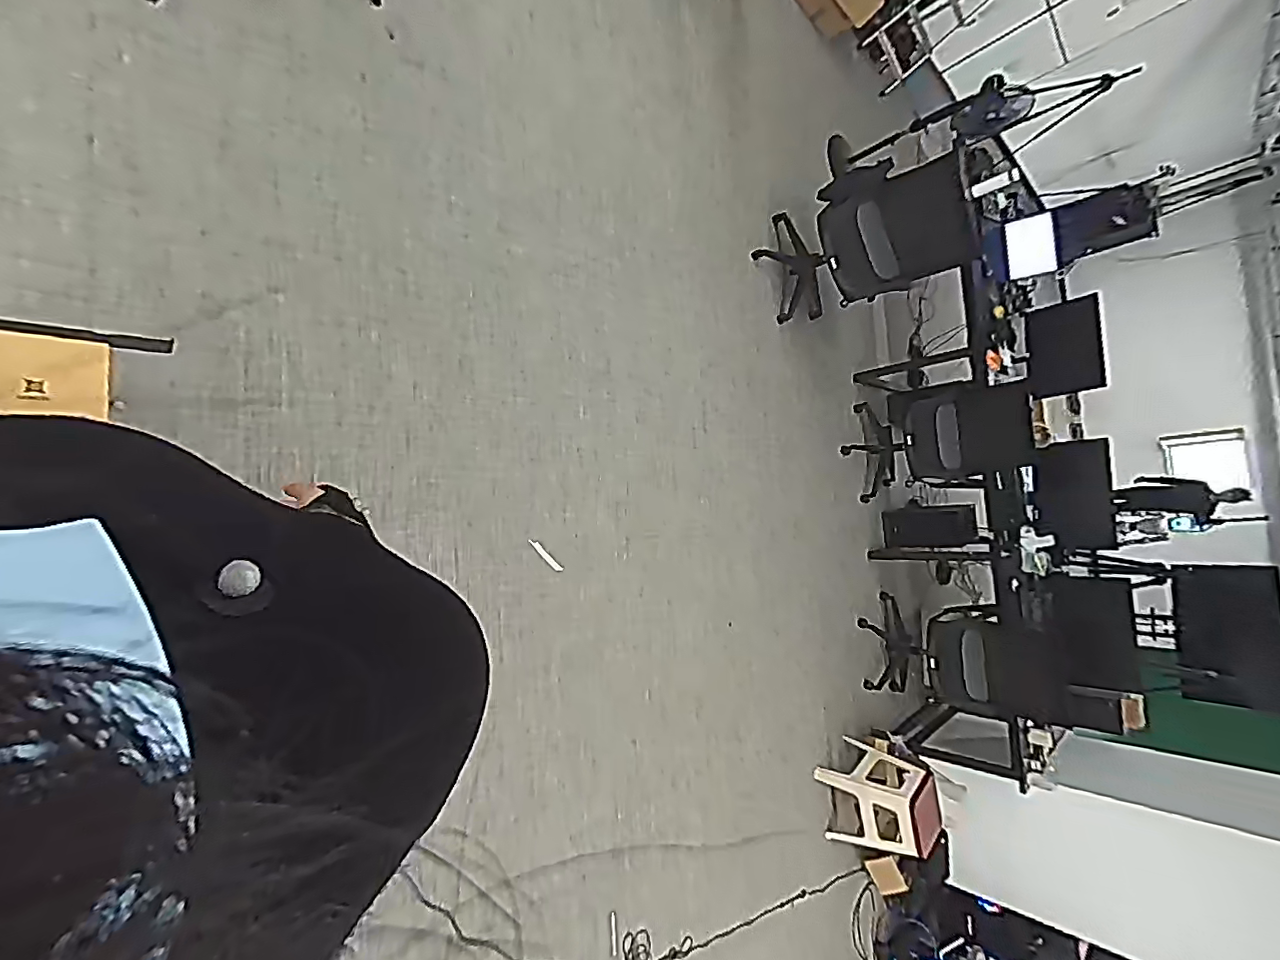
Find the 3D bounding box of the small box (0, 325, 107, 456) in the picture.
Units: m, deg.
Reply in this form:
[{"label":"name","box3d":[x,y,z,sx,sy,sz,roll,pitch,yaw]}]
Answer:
[{"label":"small box","box3d":[-0.984,-0.137,0.875,0.168,0.176,0.179,1,85,-44]}]
